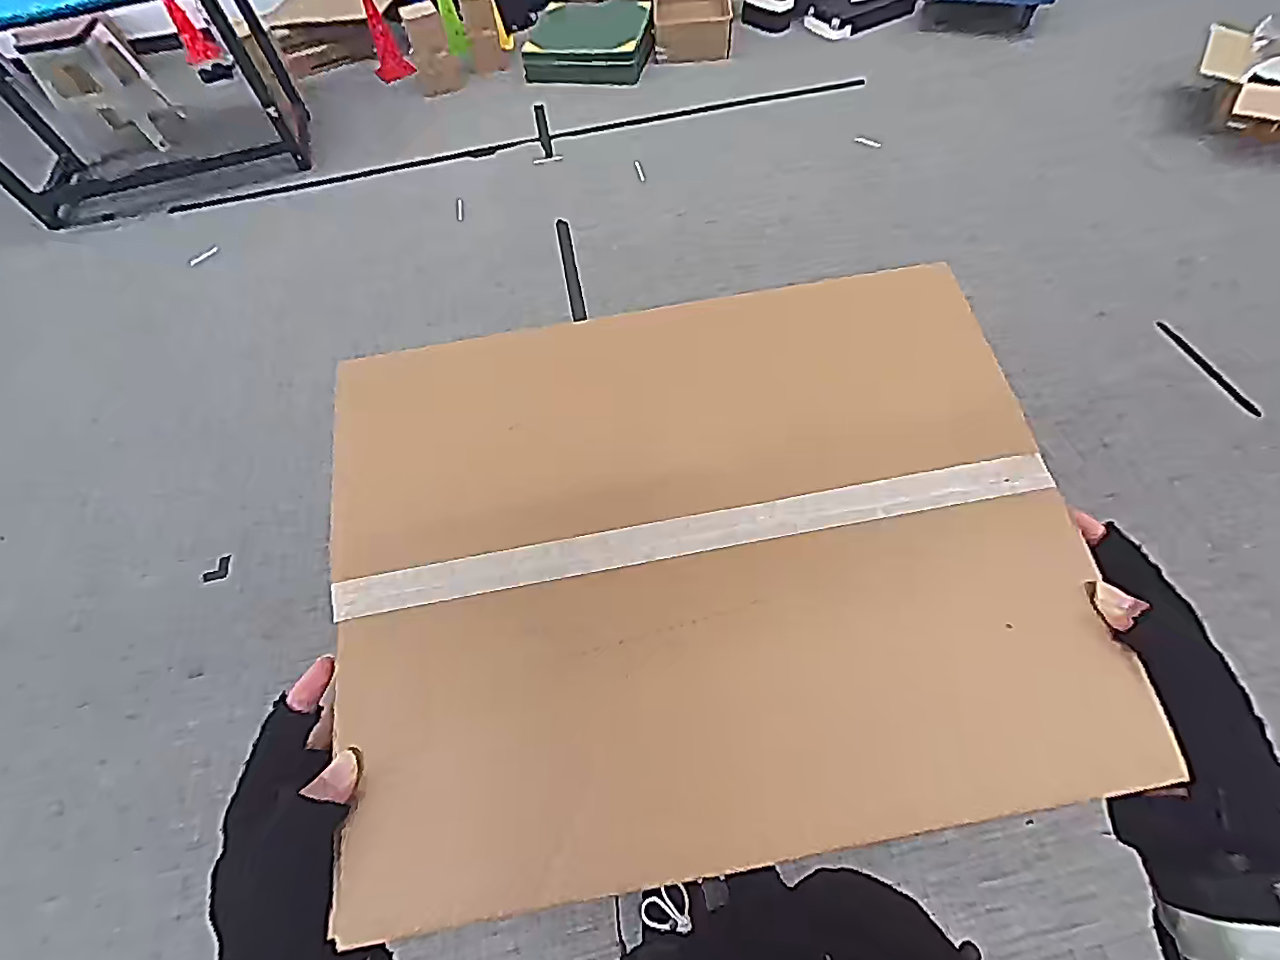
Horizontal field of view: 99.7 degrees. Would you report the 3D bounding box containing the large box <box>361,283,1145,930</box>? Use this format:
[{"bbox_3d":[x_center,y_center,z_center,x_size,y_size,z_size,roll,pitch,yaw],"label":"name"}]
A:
[{"bbox_3d":[0.039,0.092,0.456,0.408,0.320,0.320,-10,70,-2],"label":"large box"}]
